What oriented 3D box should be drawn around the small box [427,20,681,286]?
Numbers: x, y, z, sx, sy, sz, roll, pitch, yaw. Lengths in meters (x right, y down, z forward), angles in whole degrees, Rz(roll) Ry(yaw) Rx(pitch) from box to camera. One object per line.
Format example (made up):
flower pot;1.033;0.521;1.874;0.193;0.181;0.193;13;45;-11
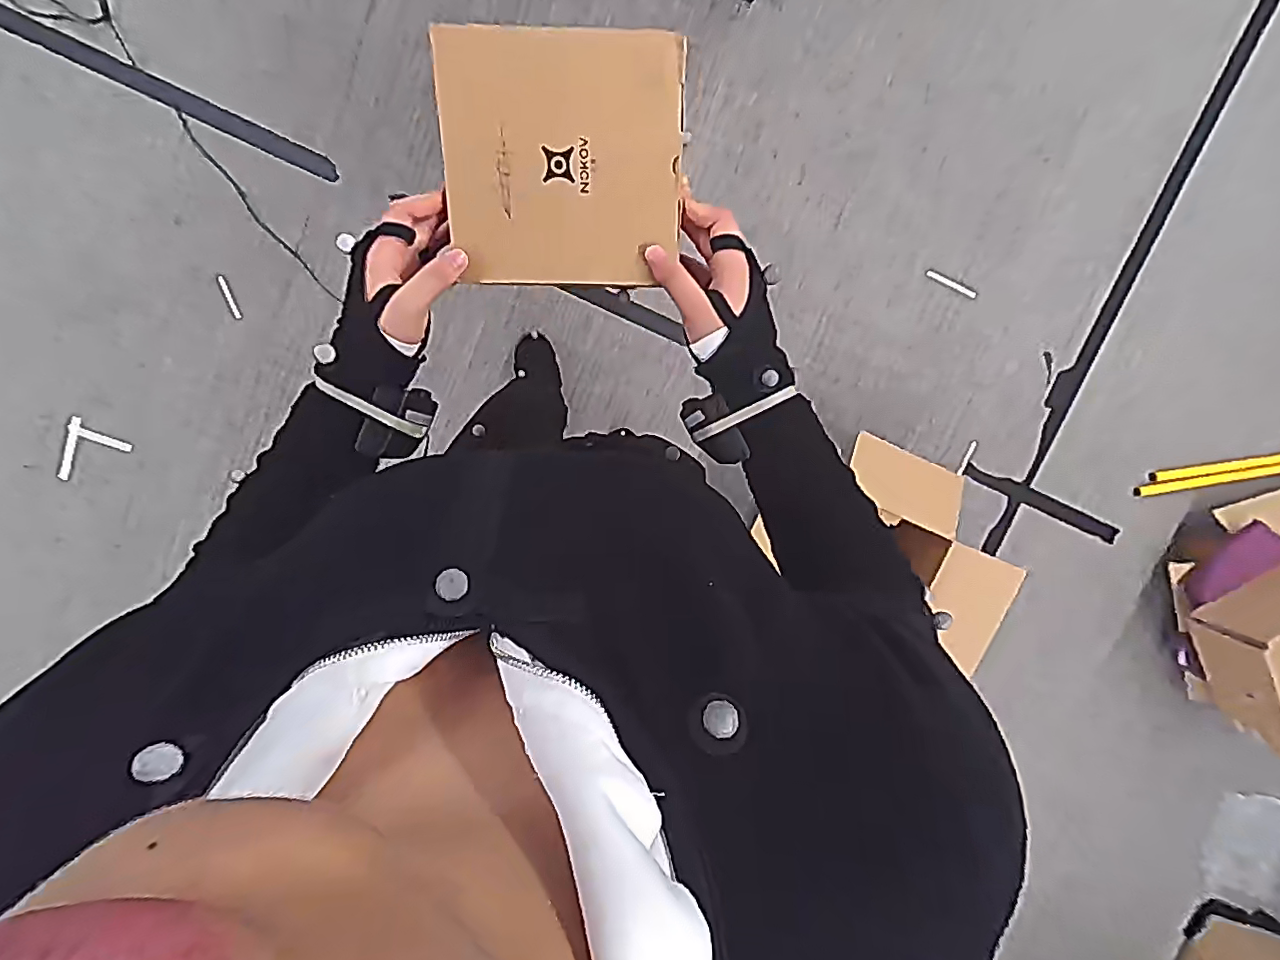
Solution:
small box;-0.061;-0.260;0.470;0.179;0.176;0.168;-1;108;-1
